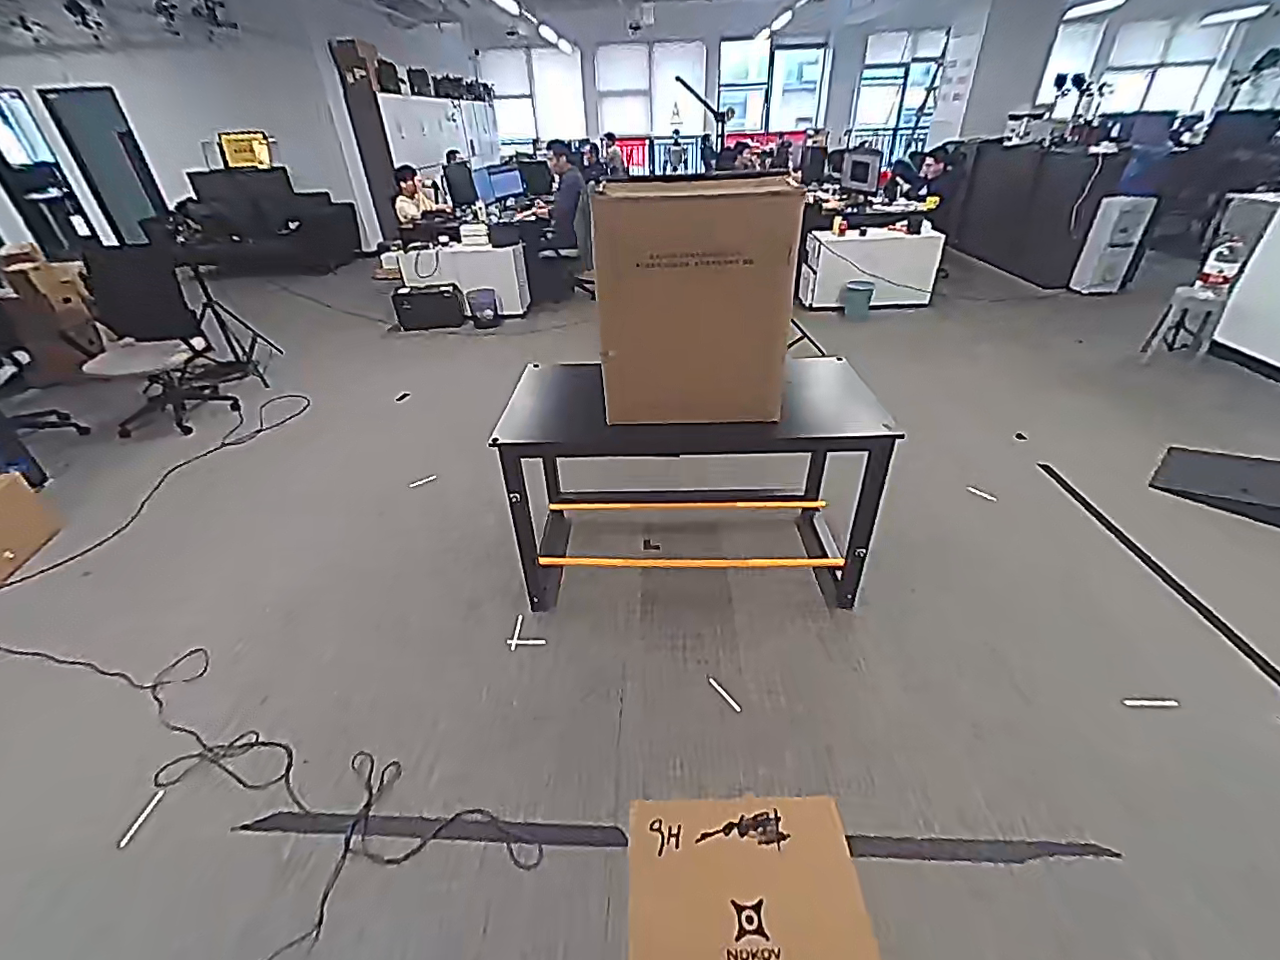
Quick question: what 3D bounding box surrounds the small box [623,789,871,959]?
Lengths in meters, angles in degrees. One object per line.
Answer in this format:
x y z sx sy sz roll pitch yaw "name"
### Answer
0.073 0.368 0.418 0.168 0.176 0.179 -1 38 0 "small box"
